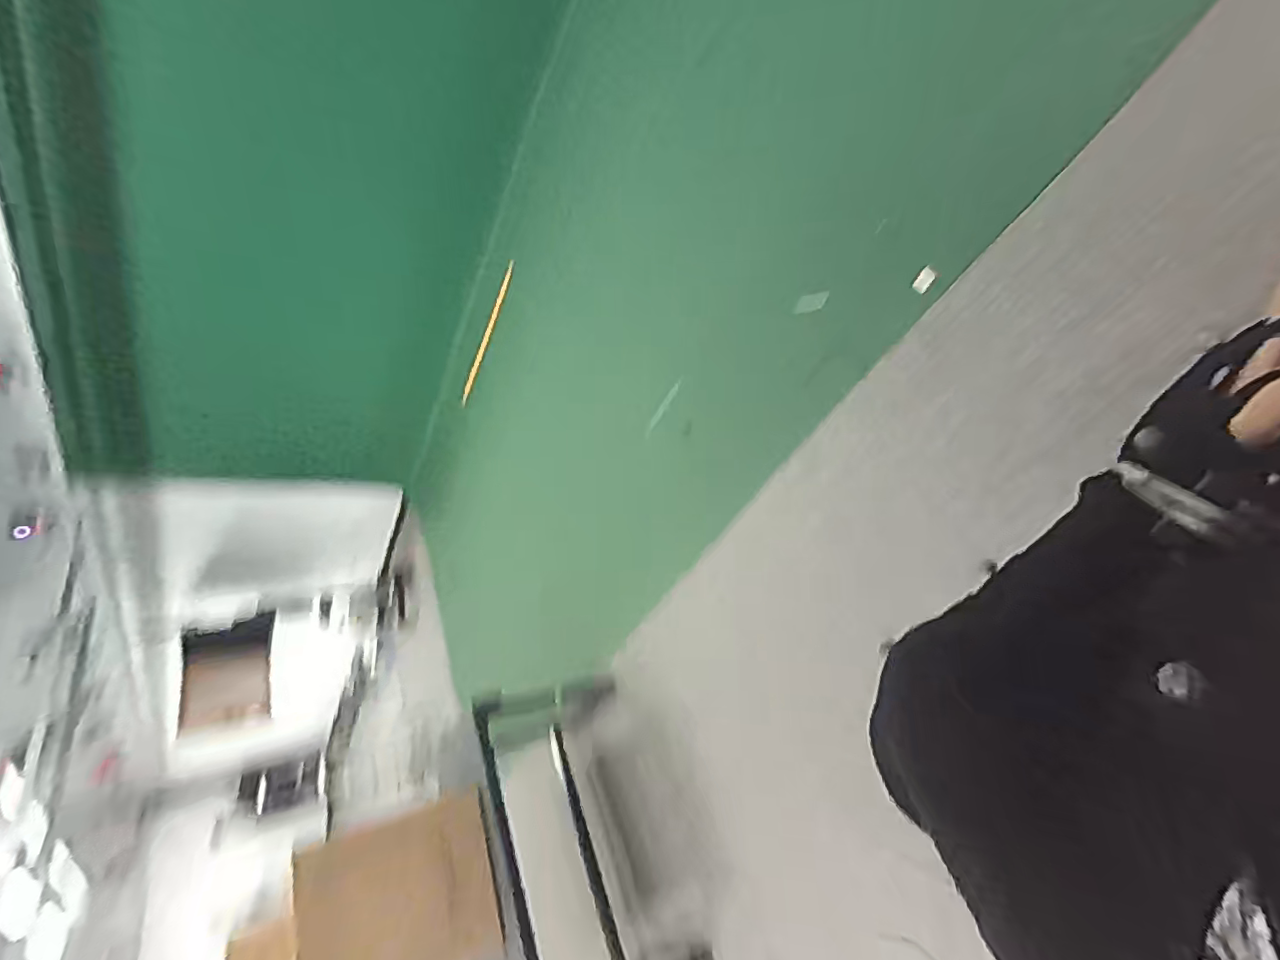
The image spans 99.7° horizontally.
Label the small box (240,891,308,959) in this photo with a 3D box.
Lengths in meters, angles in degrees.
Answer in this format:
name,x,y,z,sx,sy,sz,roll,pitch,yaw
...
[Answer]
name,x,y,z,sx,sy,sz,roll,pitch,yaw
small box,-1.147,1.421,1.695,0.179,0.176,0.168,-43,55,42
